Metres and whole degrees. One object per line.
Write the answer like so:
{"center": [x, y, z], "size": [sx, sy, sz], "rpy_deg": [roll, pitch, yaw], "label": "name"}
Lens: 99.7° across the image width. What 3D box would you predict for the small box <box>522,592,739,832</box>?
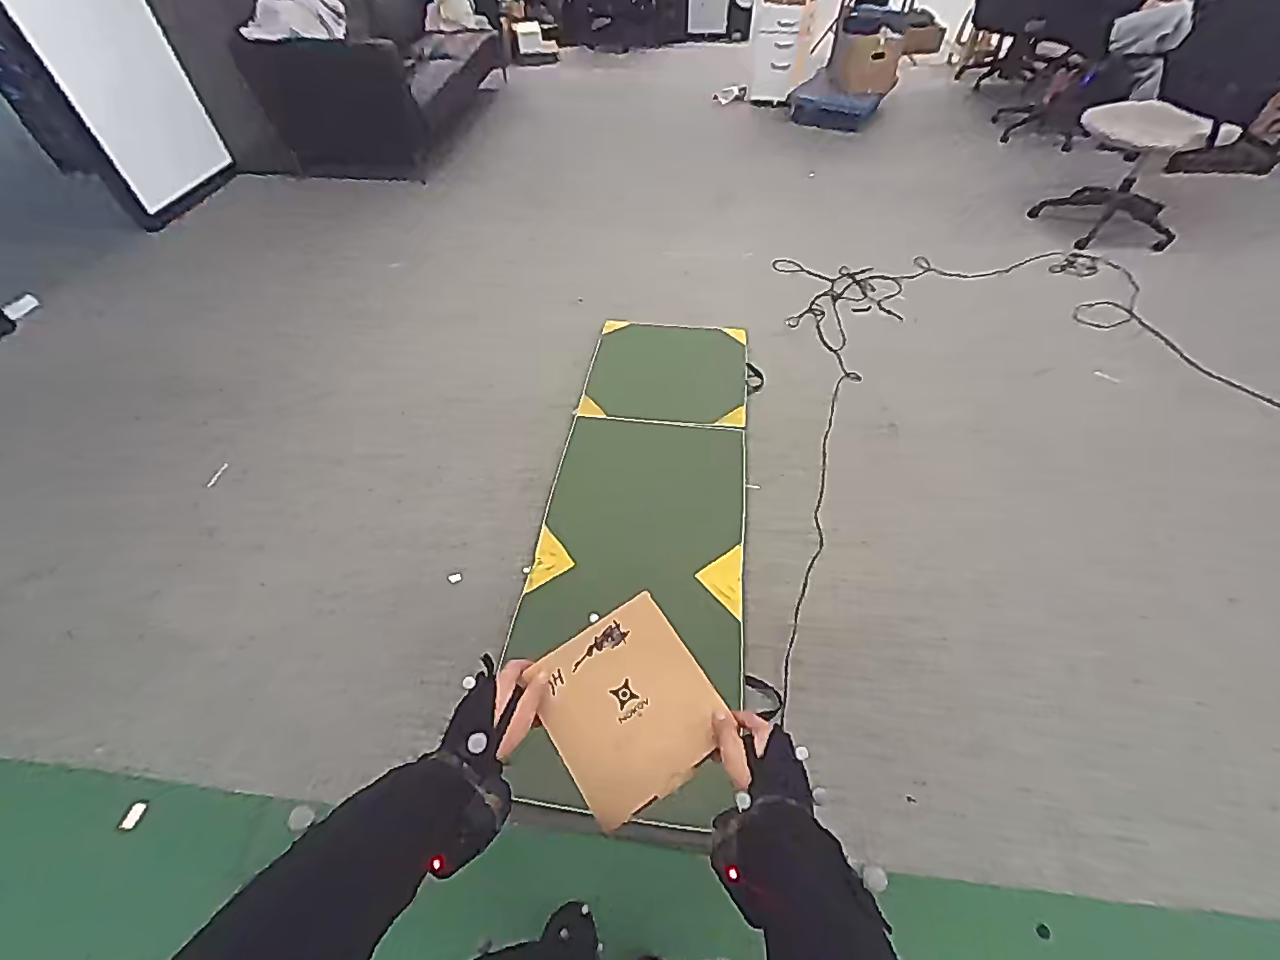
{"center": [-0.013, 0.263, 0.629], "size": [0.168, 0.176, 0.179], "rpy_deg": [-30, 68, -17], "label": "small box"}
